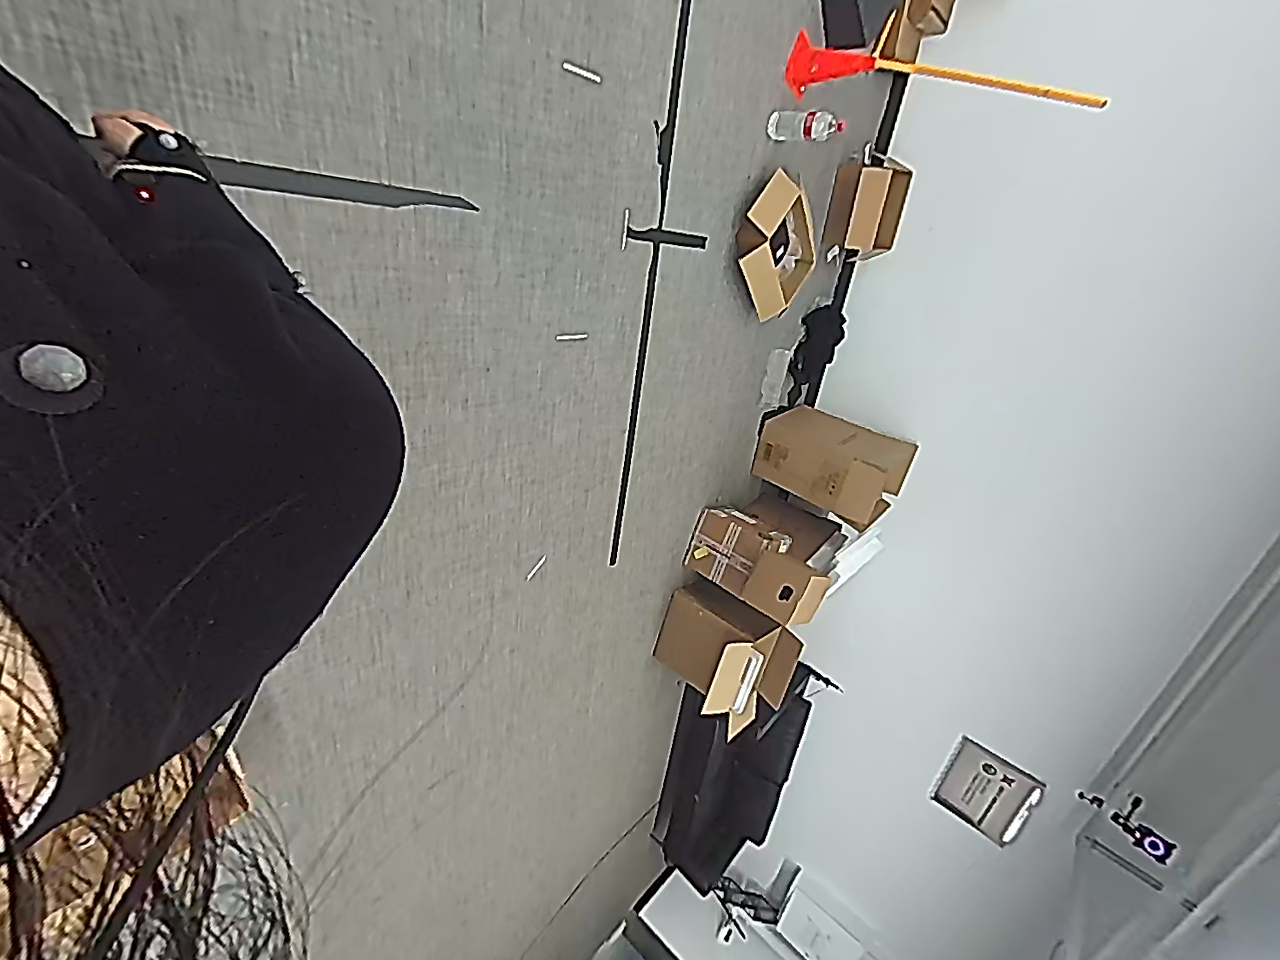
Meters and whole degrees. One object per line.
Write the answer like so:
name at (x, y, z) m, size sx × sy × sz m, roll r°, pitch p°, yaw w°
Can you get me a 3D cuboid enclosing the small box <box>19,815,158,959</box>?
small box at (-1.214, 0.894, 1.195) m, size 0.168 × 0.176 × 0.179 m, roll -26°, pitch 132°, yaw -44°
